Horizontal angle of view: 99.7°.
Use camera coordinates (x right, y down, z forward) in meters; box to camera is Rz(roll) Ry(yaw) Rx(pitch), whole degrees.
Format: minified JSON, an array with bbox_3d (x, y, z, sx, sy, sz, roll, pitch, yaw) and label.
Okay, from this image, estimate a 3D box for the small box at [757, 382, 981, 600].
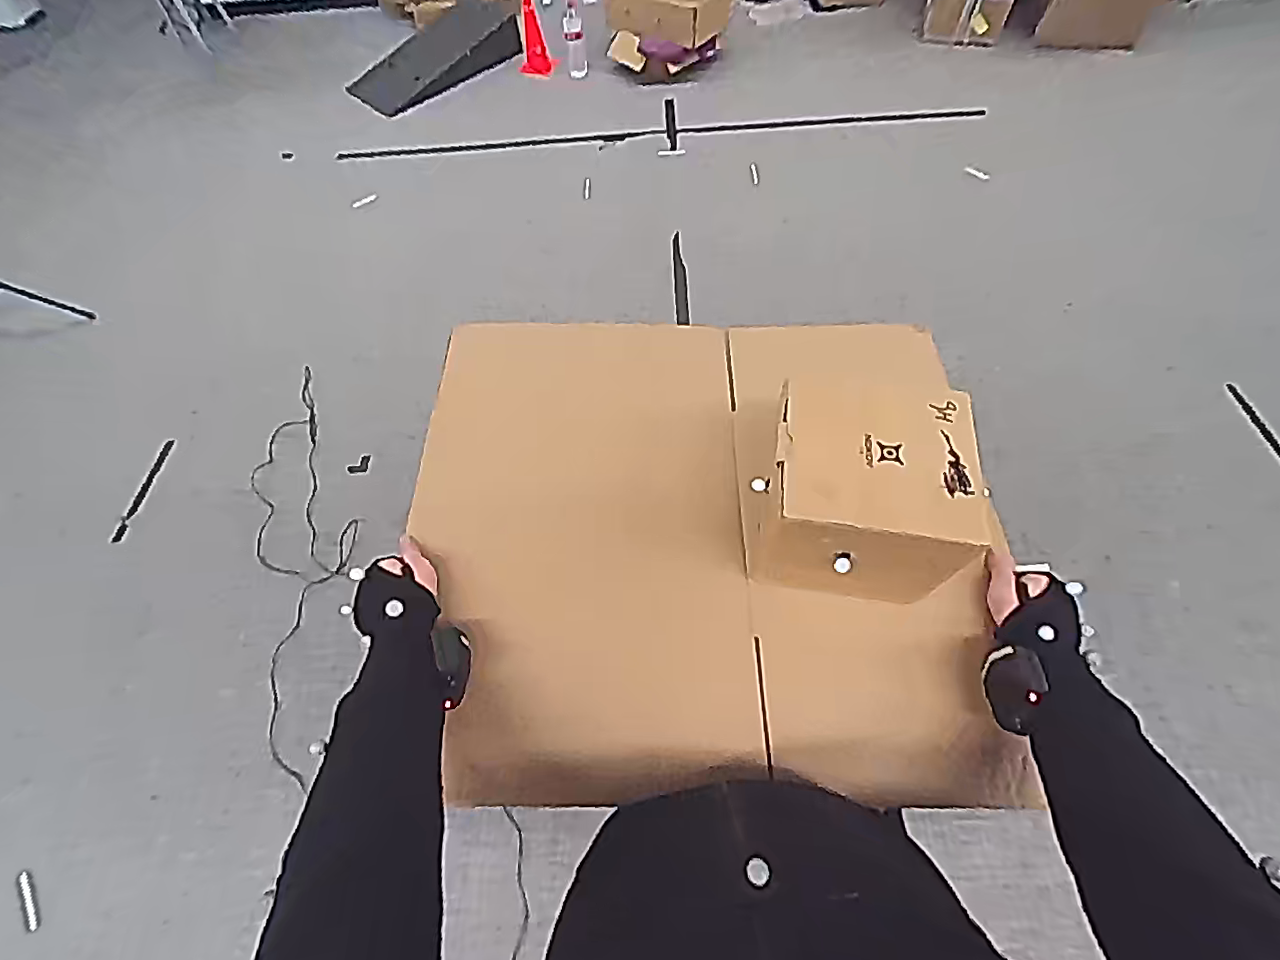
[{"bbox_3d":[0.223,0.018,0.577,0.179,0.176,0.168,7,61,8],"label":"small box"}]
